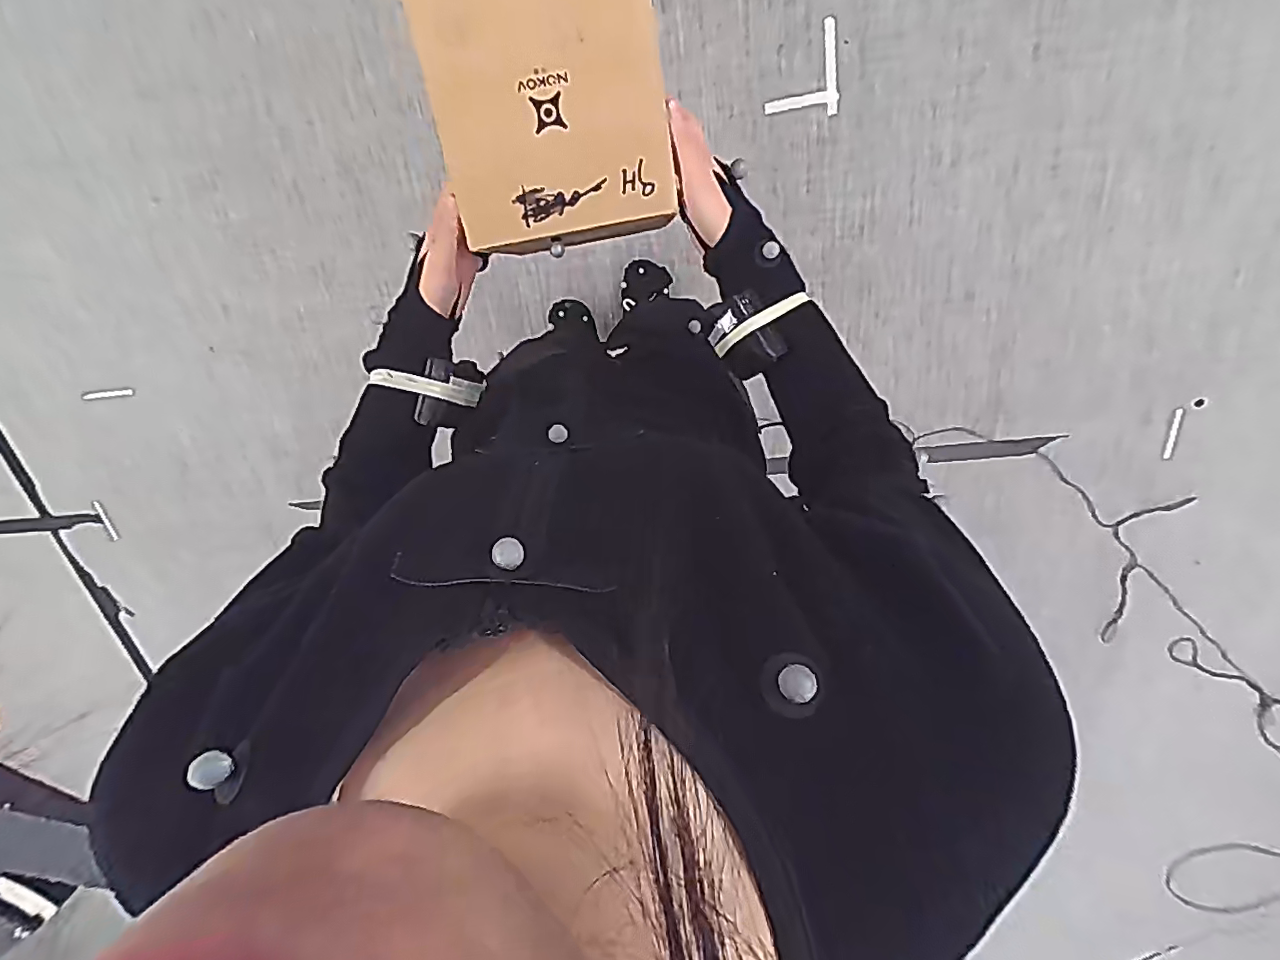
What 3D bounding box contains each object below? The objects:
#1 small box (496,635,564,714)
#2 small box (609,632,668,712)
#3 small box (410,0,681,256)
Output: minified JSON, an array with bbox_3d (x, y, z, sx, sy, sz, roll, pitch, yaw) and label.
[{"bbox_3d":[-0.355,0.631,1.769,0.179,0.176,0.168,10,113,-3],"label":"small box"},{"bbox_3d":[0.000,0.615,1.739,0.168,0.176,0.179,-6,112,5],"label":"small box"},{"bbox_3d":[-0.064,-0.296,0.454,0.168,0.176,0.179,-10,111,2],"label":"small box"}]
